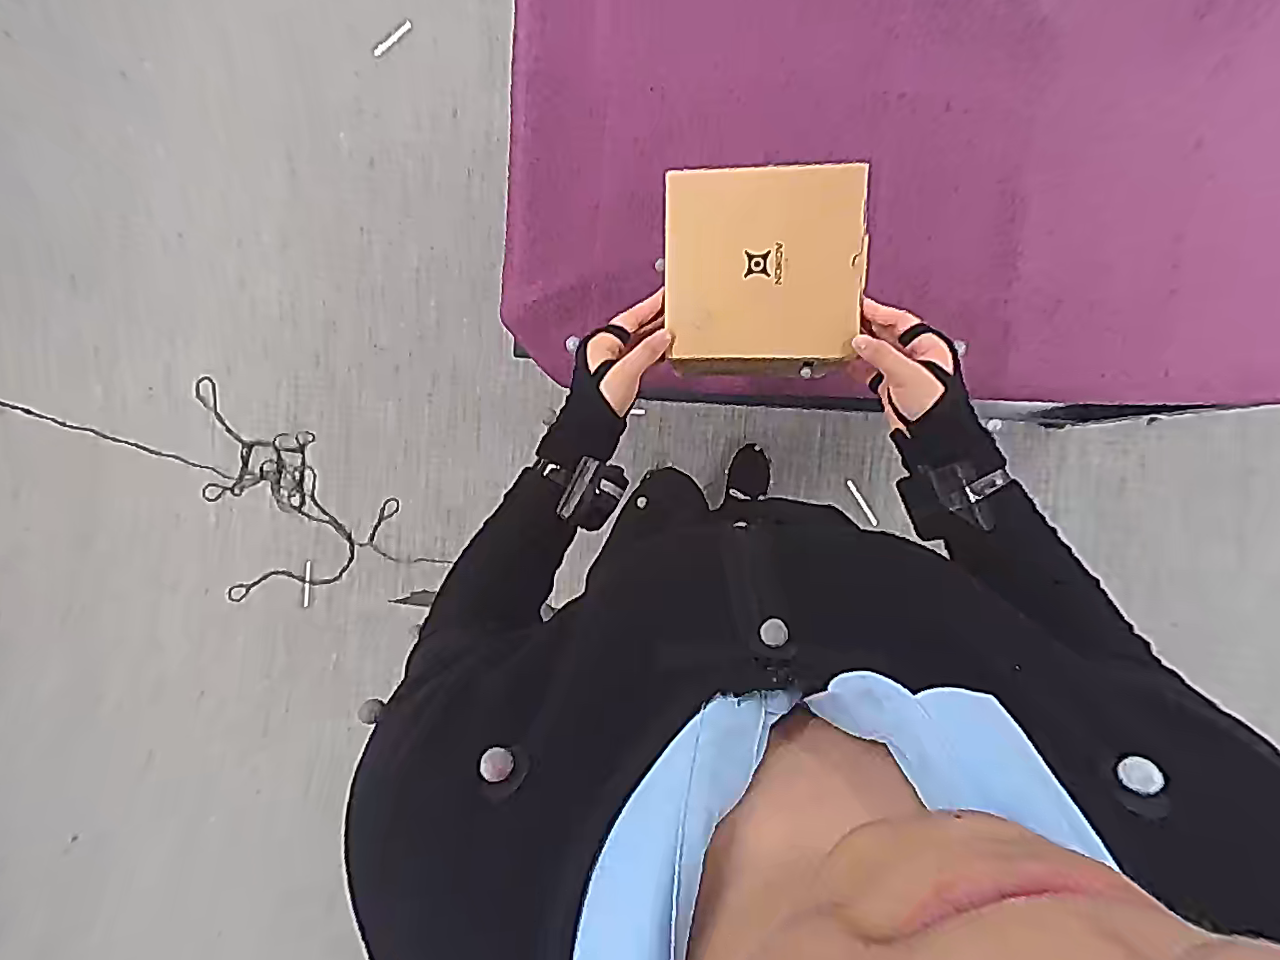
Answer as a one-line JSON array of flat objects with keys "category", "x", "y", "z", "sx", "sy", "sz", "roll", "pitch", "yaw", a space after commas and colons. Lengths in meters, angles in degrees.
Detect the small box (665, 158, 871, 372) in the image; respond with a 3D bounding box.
[{"category": "small box", "x": 0.120, "y": -0.202, "z": 0.557, "sx": 0.179, "sy": 0.176, "sz": 0.168, "roll": 1, "pitch": 95, "yaw": 6}]
